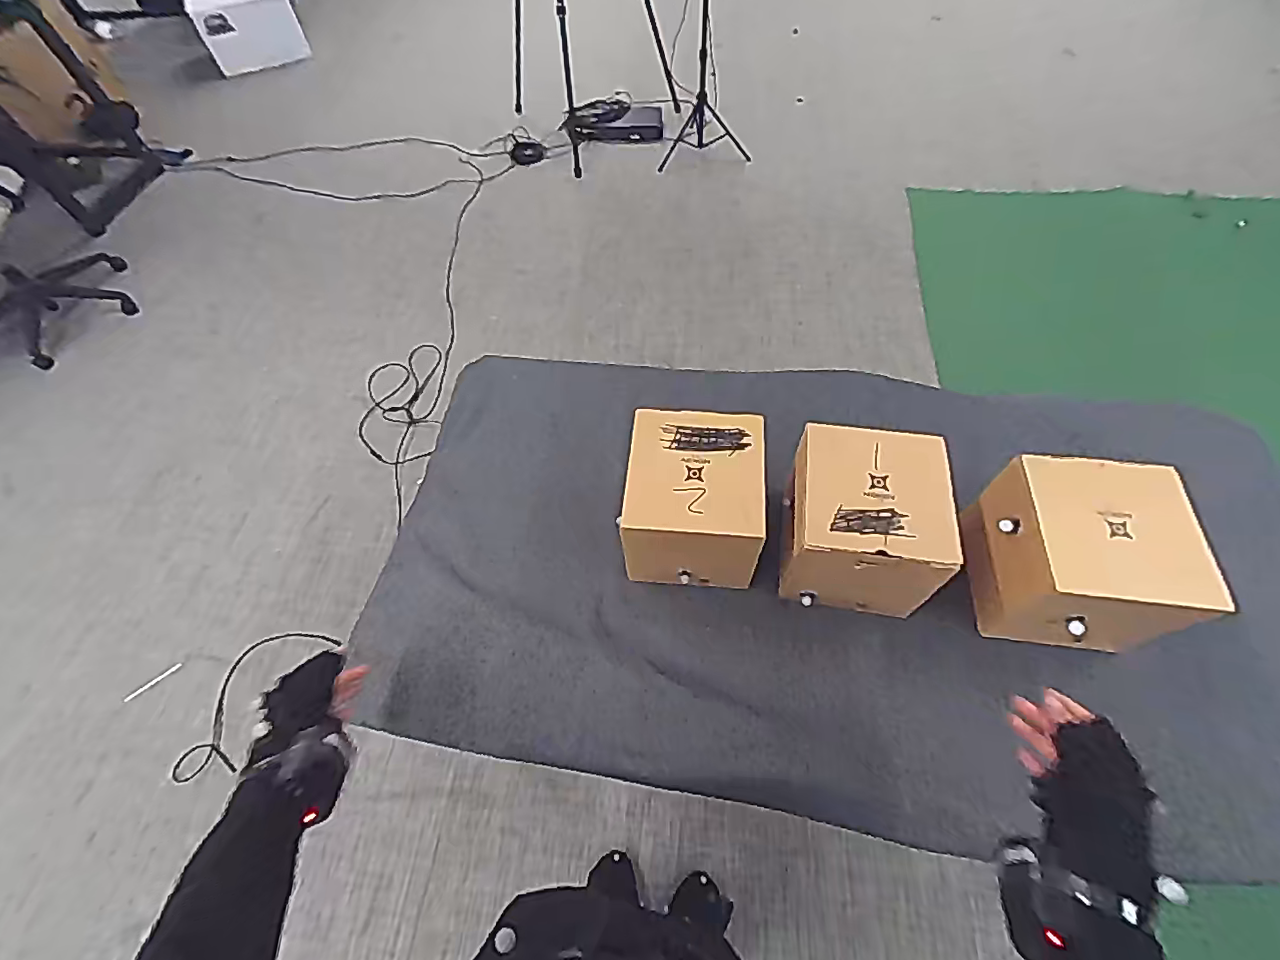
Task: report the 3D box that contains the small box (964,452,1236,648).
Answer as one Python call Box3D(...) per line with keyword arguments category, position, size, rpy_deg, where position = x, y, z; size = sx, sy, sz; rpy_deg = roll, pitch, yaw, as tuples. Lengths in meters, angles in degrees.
Box3D(category="small box", position=(0.519, 0.090, 0.647), size=(0.168, 0.176, 0.179), rpy_deg=(5, 58, 7))
